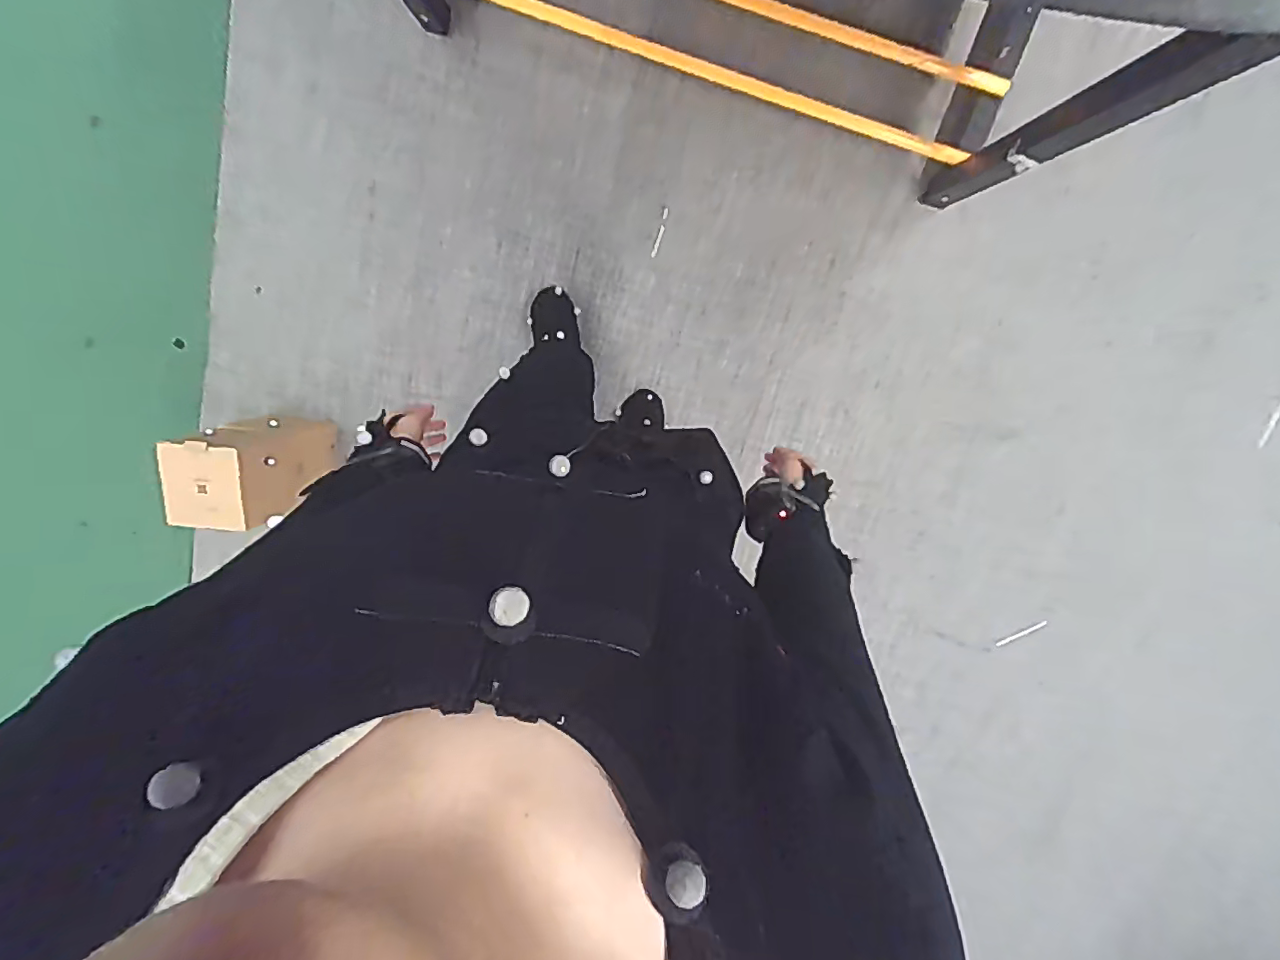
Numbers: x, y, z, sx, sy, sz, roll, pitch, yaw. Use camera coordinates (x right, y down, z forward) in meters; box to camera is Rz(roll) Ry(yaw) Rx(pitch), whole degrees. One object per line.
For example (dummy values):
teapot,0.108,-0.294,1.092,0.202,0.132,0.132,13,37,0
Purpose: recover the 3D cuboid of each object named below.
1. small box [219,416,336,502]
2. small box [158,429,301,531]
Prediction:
small box,-0.858,-0.056,1.300,0.179,0.176,0.168,7,105,1
small box,-0.856,-0.007,1.145,0.168,0.176,0.179,4,106,2
